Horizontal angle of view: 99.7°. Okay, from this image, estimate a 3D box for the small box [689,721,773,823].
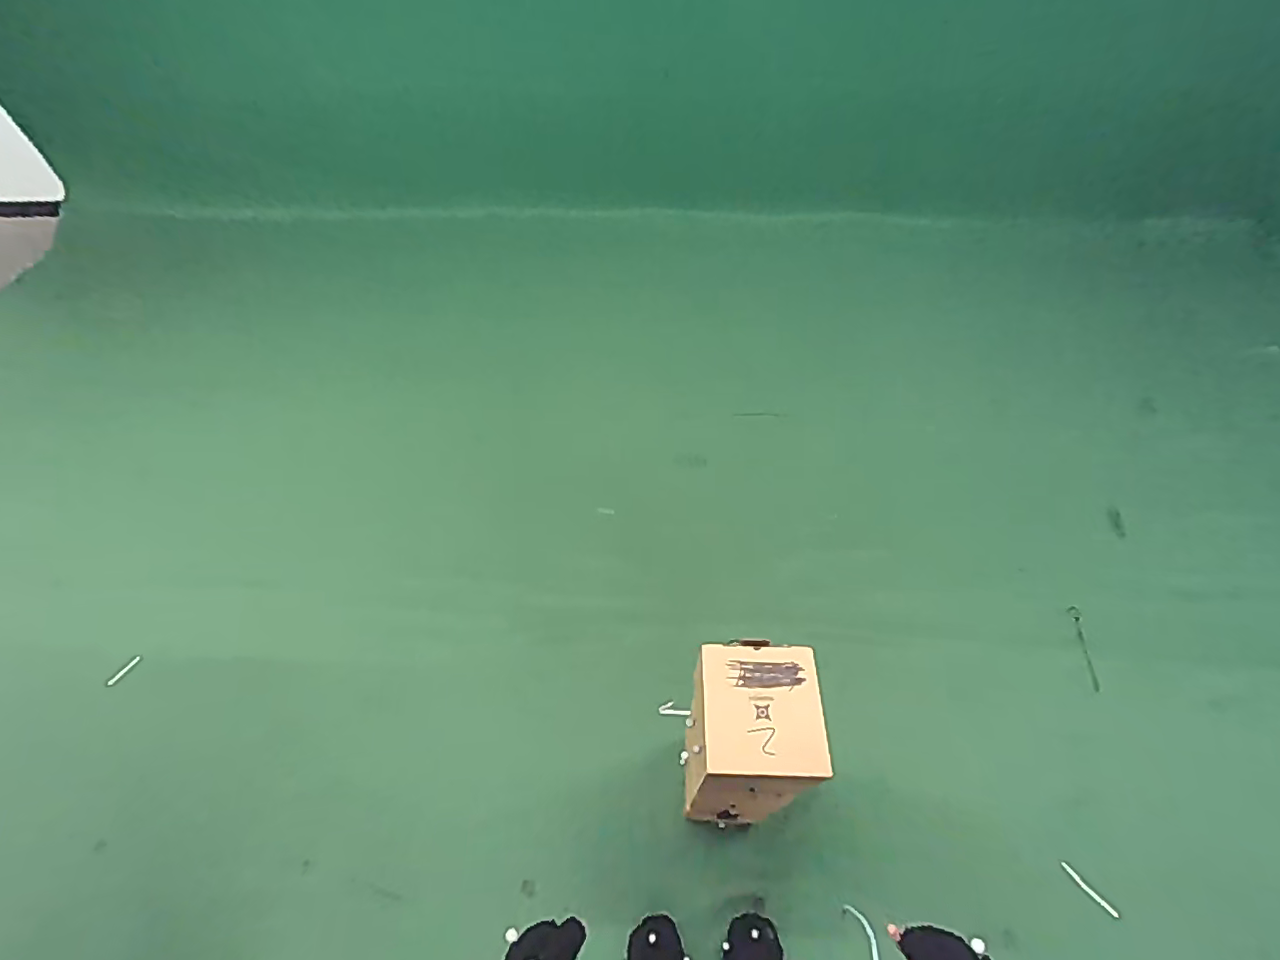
[{"bbox_3d":[0.196,0.653,1.211,0.168,0.176,0.179,1,54,4],"label":"small box"}]

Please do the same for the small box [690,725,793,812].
[{"bbox_3d":[0.196,0.552,1.079,0.179,0.176,0.168,4,52,5],"label":"small box"}]

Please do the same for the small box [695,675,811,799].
[{"bbox_3d":[0.187,0.455,0.951,0.179,0.176,0.168,1,53,3],"label":"small box"}]
